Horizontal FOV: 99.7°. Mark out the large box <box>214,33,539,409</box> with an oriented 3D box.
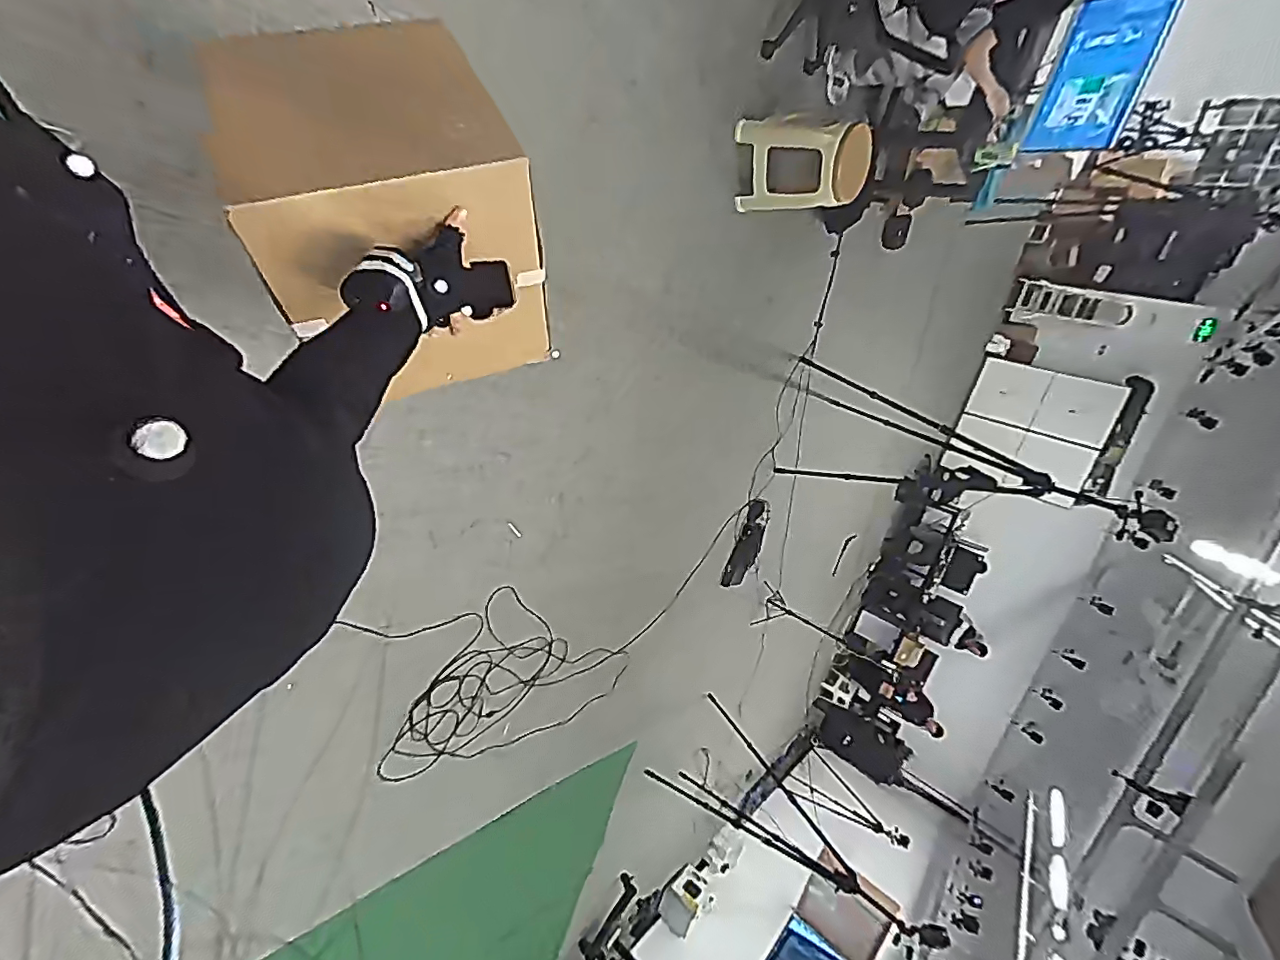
[{"bbox_3d":[-0.359,-0.374,0.778,0.320,0.408,0.320,-17,150,-16],"label":"large box"}]
